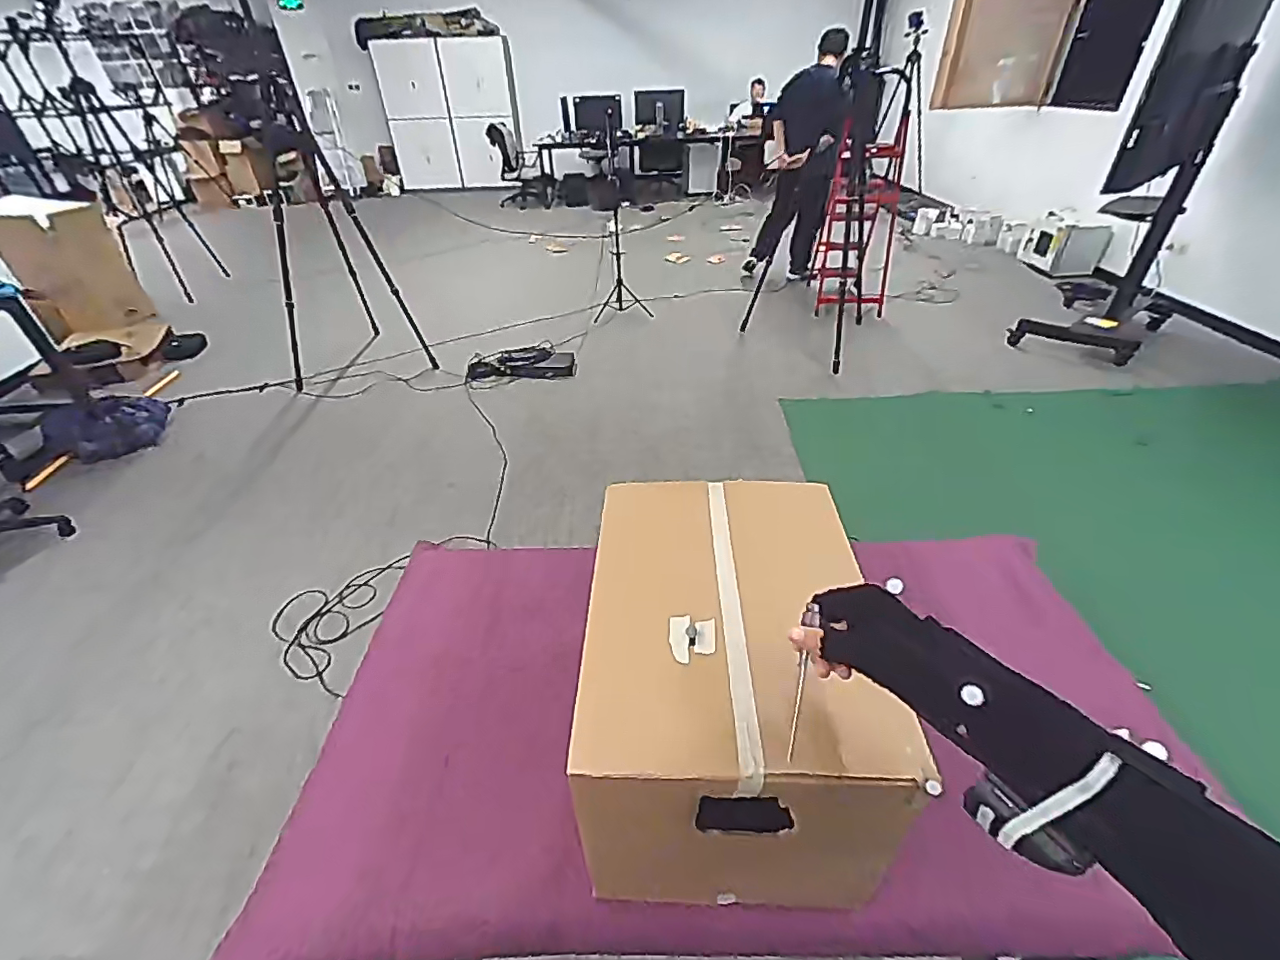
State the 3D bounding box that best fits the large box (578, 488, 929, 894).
[{"bbox_3d":[0.102,0.253,0.713,0.320,0.320,0.408,0,38,3],"label":"large box"}]
